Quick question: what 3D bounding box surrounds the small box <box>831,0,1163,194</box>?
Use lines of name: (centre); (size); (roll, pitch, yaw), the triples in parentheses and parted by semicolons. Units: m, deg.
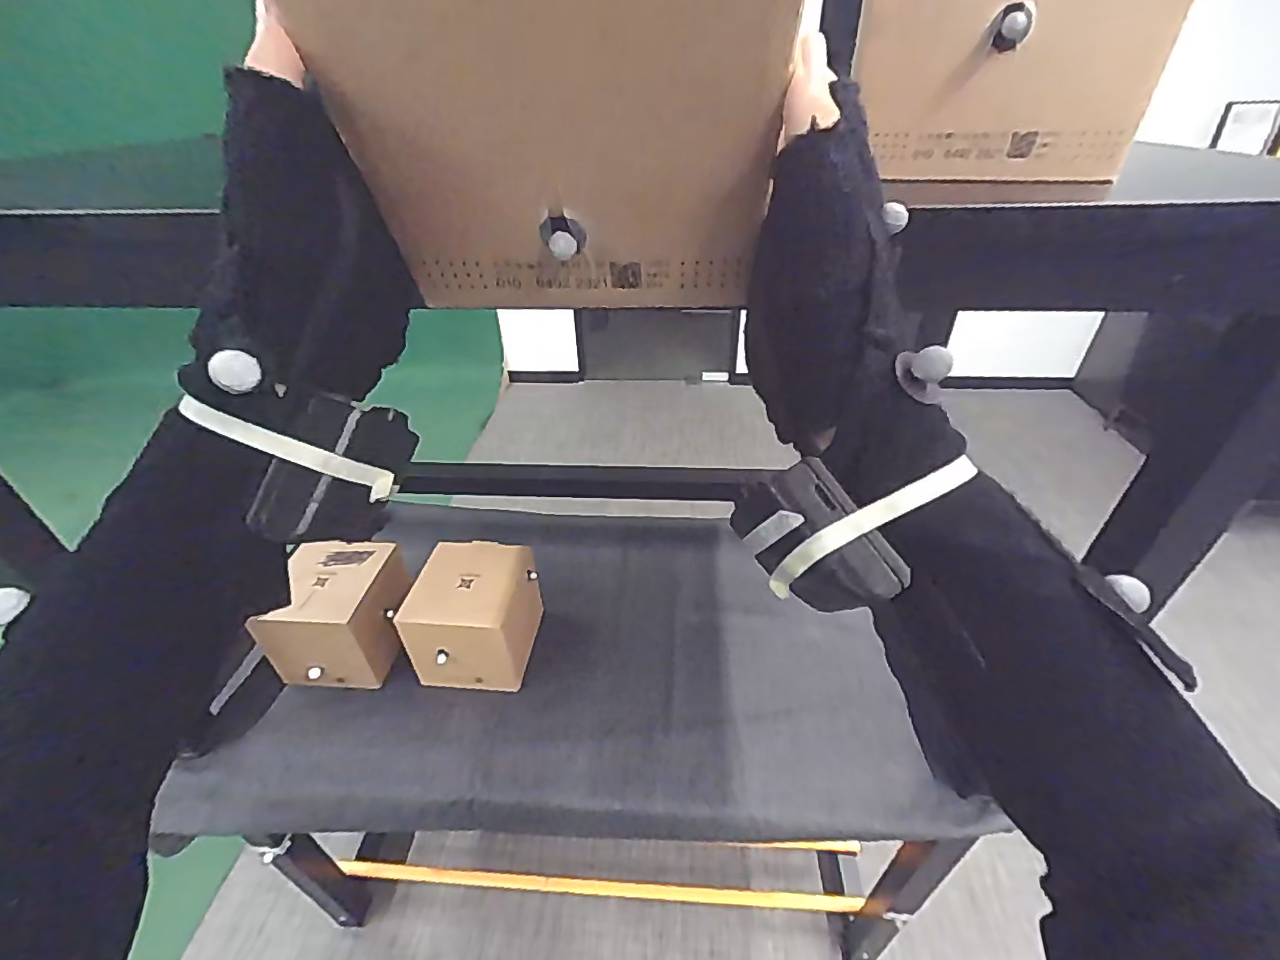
small box: (0.240, -0.312, 0.390); (0.168, 0.176, 0.179); (8, 36, 13)

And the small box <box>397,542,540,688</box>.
small box: (-0.273, 0.227, 0.910); (0.168, 0.176, 0.179); (2, 36, 4)

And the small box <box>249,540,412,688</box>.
small box: (-0.500, 0.223, 0.916); (0.168, 0.176, 0.179); (2, 36, 3)
